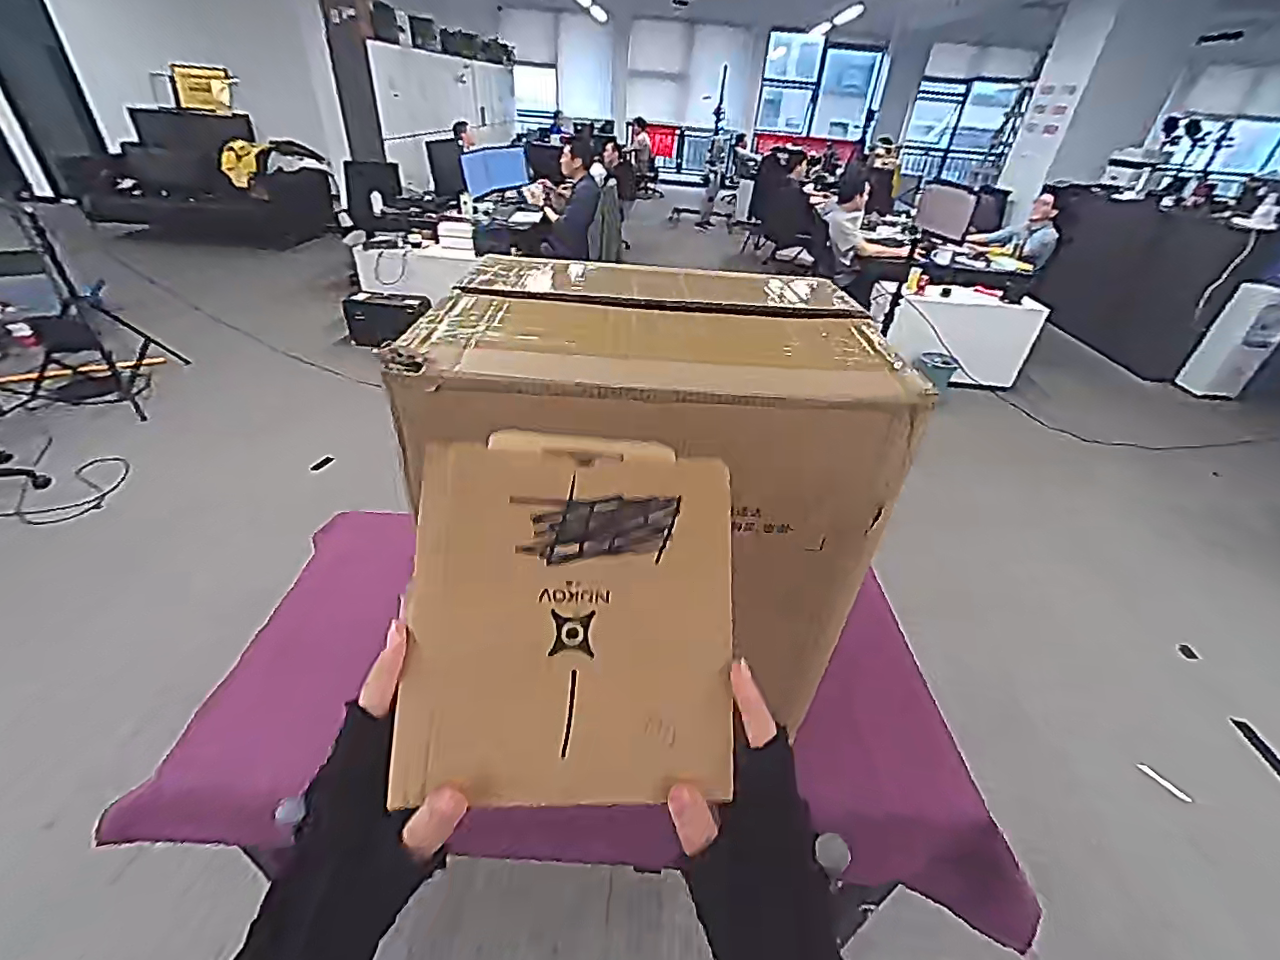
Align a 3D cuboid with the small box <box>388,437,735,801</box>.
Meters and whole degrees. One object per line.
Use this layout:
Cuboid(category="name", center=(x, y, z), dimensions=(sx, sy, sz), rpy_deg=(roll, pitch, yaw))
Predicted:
Cuboid(category="small box", center=(-0.043, 0.085, 0.352), dimensions=(0.168, 0.176, 0.179), rpy_deg=(3, 77, -7))
